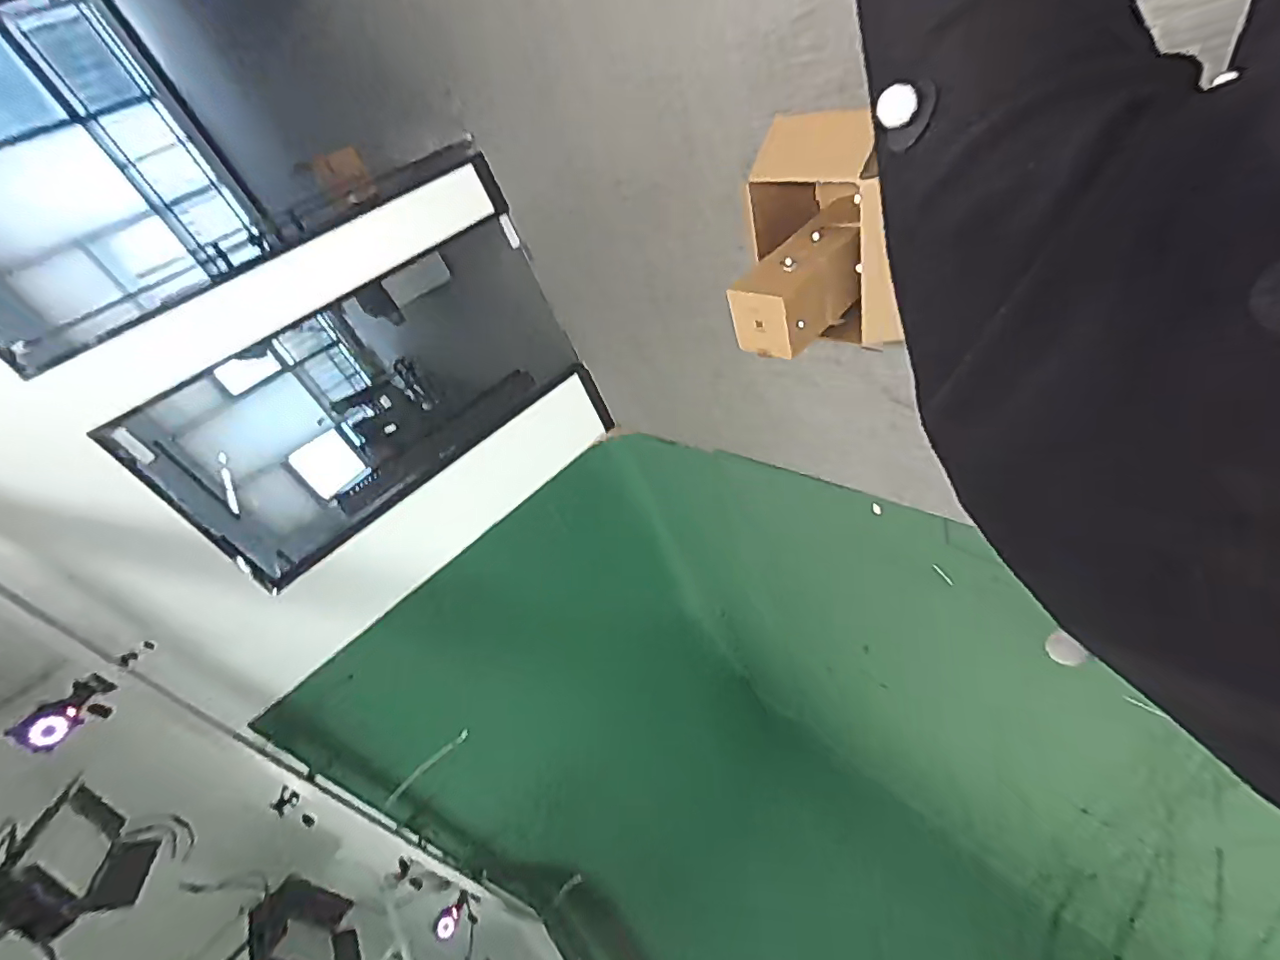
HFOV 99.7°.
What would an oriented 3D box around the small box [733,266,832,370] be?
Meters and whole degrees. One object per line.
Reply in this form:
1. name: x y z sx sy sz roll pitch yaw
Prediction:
1. small box: 0.363 -0.407 1.349 0.168 0.176 0.179 25 150 42
